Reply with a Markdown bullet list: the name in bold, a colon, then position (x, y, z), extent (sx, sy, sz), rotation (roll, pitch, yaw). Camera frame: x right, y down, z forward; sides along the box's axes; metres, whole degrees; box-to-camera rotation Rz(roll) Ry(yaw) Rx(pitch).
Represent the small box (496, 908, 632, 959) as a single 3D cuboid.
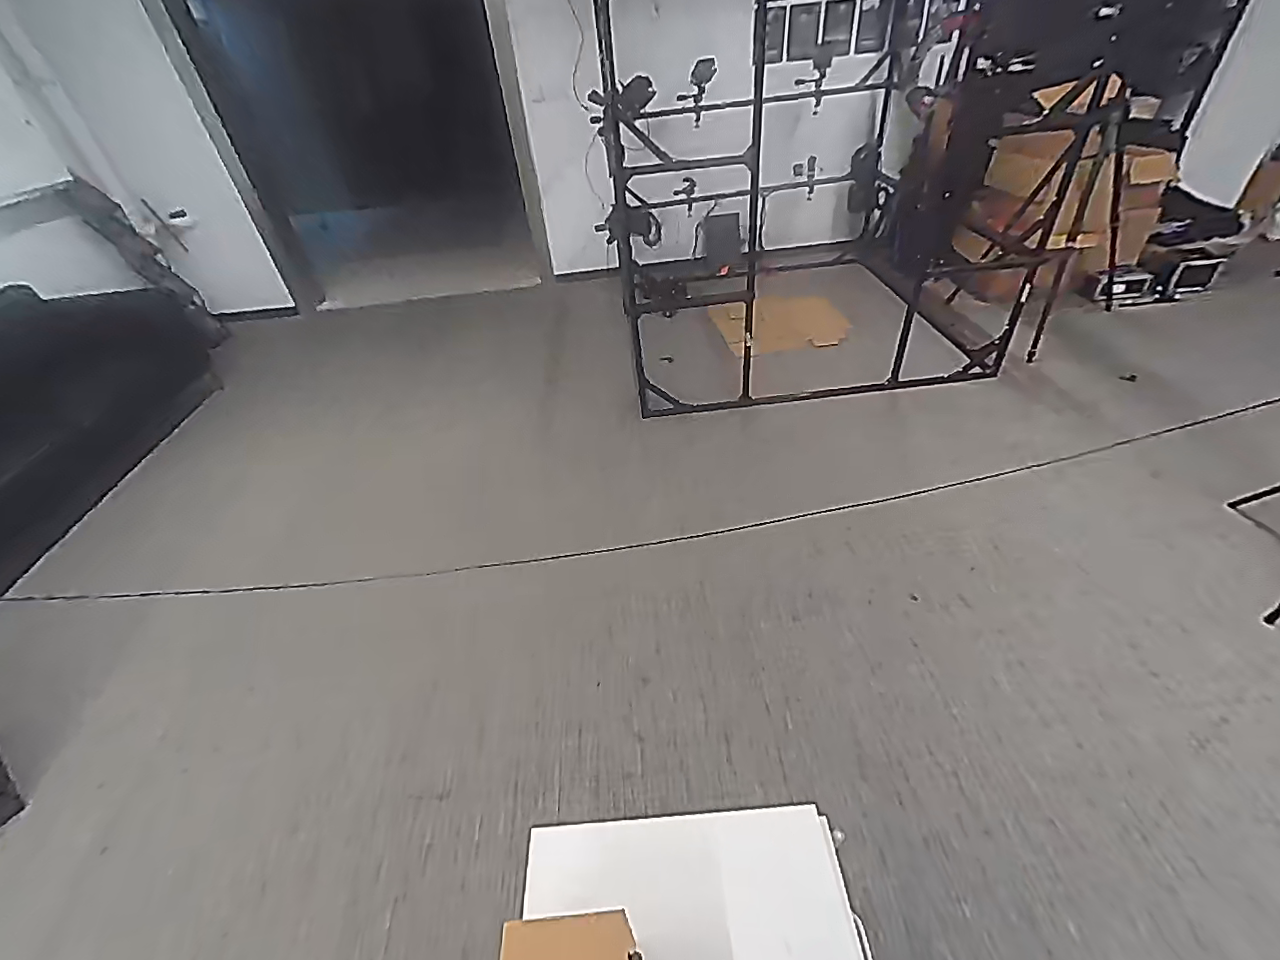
- **small box**: position (-0.097, 0.699, 0.711), extent (0.168, 0.176, 0.179), rotation (-6, 39, 1)
